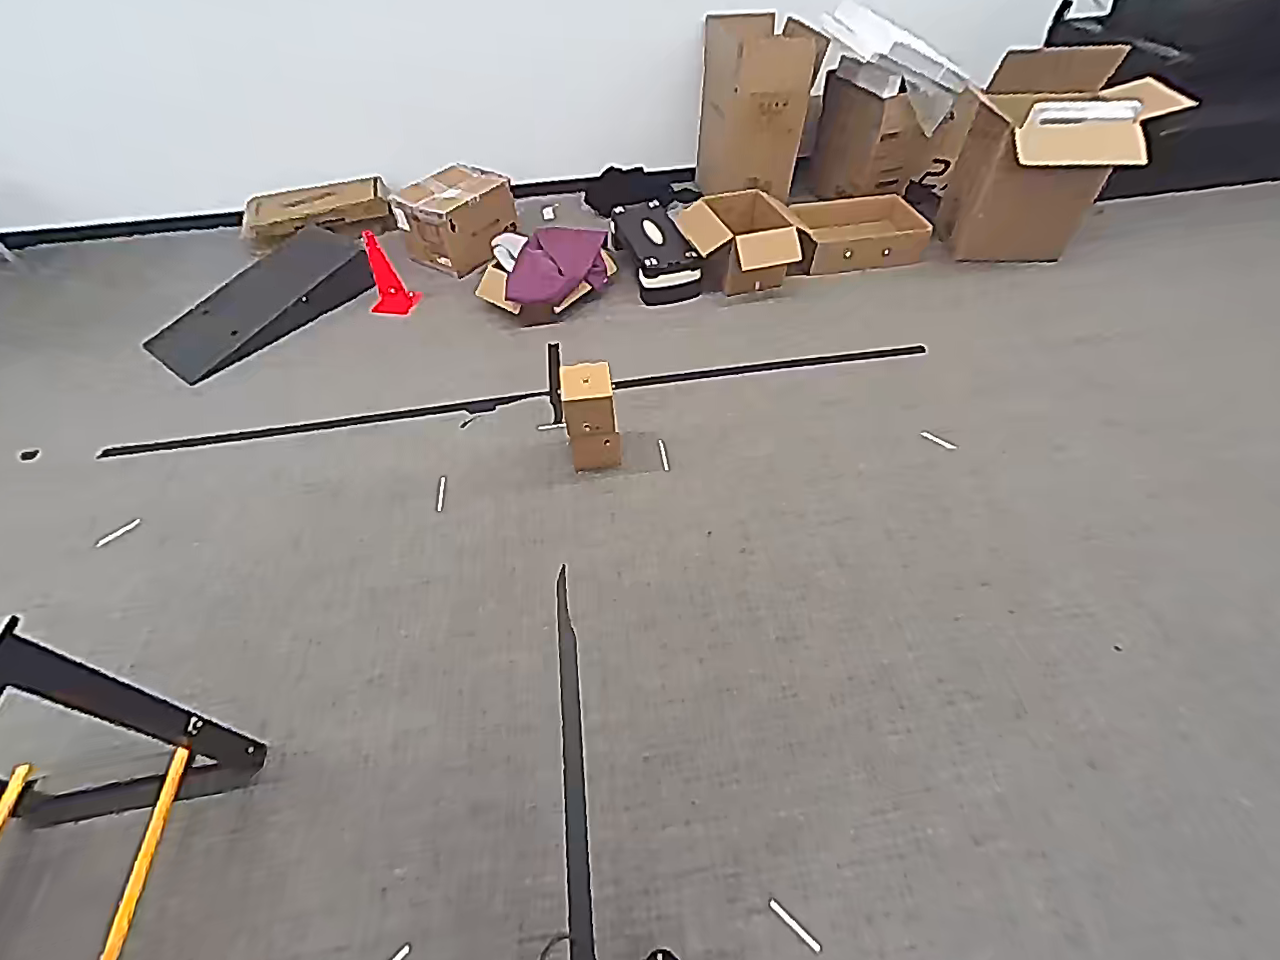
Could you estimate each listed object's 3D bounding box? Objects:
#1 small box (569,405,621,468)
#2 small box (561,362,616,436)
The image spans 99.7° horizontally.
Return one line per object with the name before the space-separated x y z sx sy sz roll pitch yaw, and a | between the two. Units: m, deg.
small box | -0.163 -0.162 1.951 0.179 0.176 0.168 -8 51 -5
small box | -0.173 -0.273 1.832 0.168 0.176 0.179 -7 52 -3
